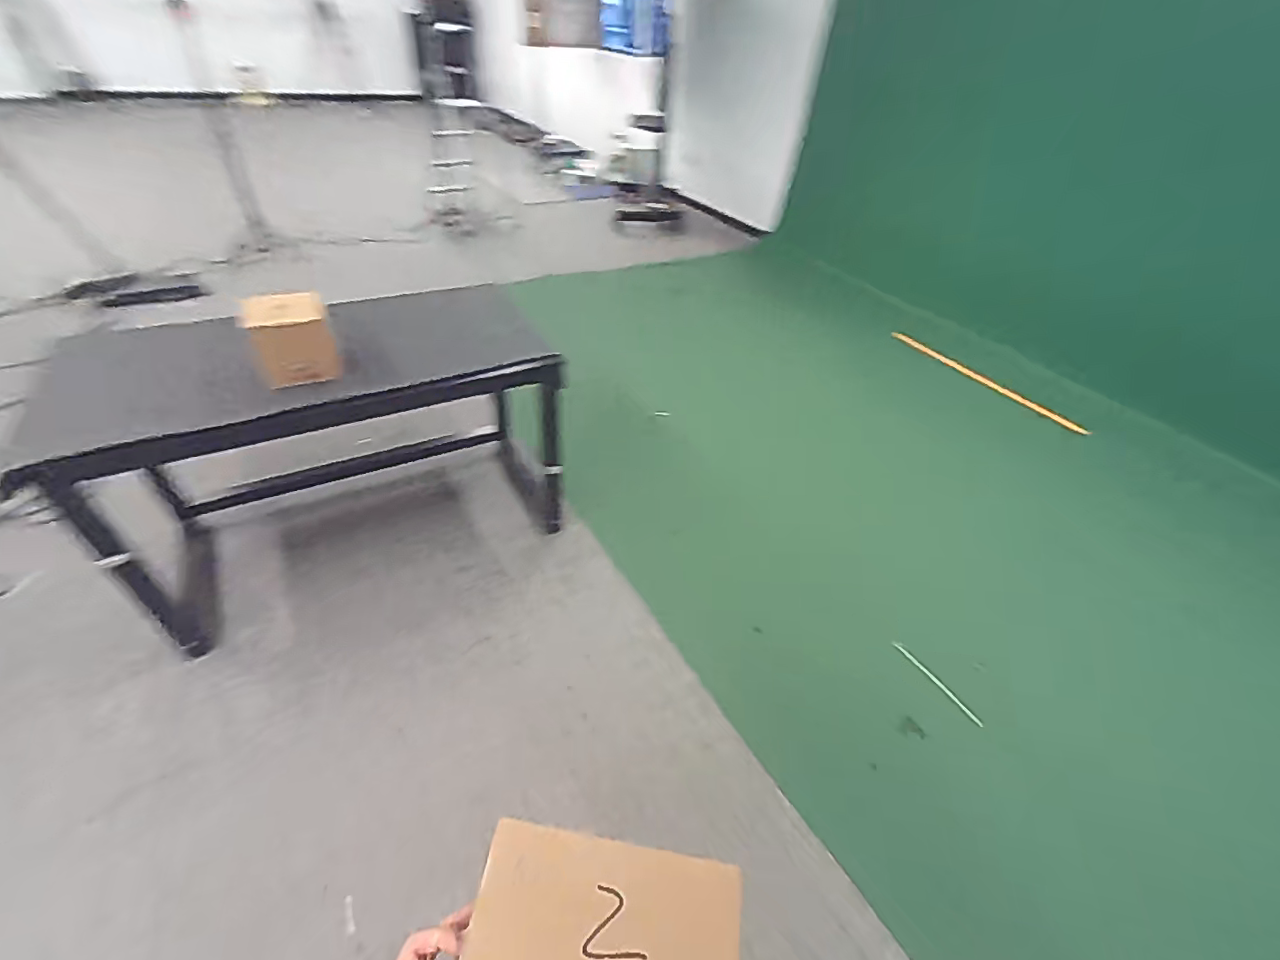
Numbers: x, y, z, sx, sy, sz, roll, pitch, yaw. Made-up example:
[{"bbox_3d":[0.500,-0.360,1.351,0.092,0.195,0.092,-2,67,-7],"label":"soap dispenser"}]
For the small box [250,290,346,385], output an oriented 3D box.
[{"bbox_3d":[-0.865,-0.363,1.376,0.168,0.176,0.179,-15,46,-22],"label":"small box"}]
